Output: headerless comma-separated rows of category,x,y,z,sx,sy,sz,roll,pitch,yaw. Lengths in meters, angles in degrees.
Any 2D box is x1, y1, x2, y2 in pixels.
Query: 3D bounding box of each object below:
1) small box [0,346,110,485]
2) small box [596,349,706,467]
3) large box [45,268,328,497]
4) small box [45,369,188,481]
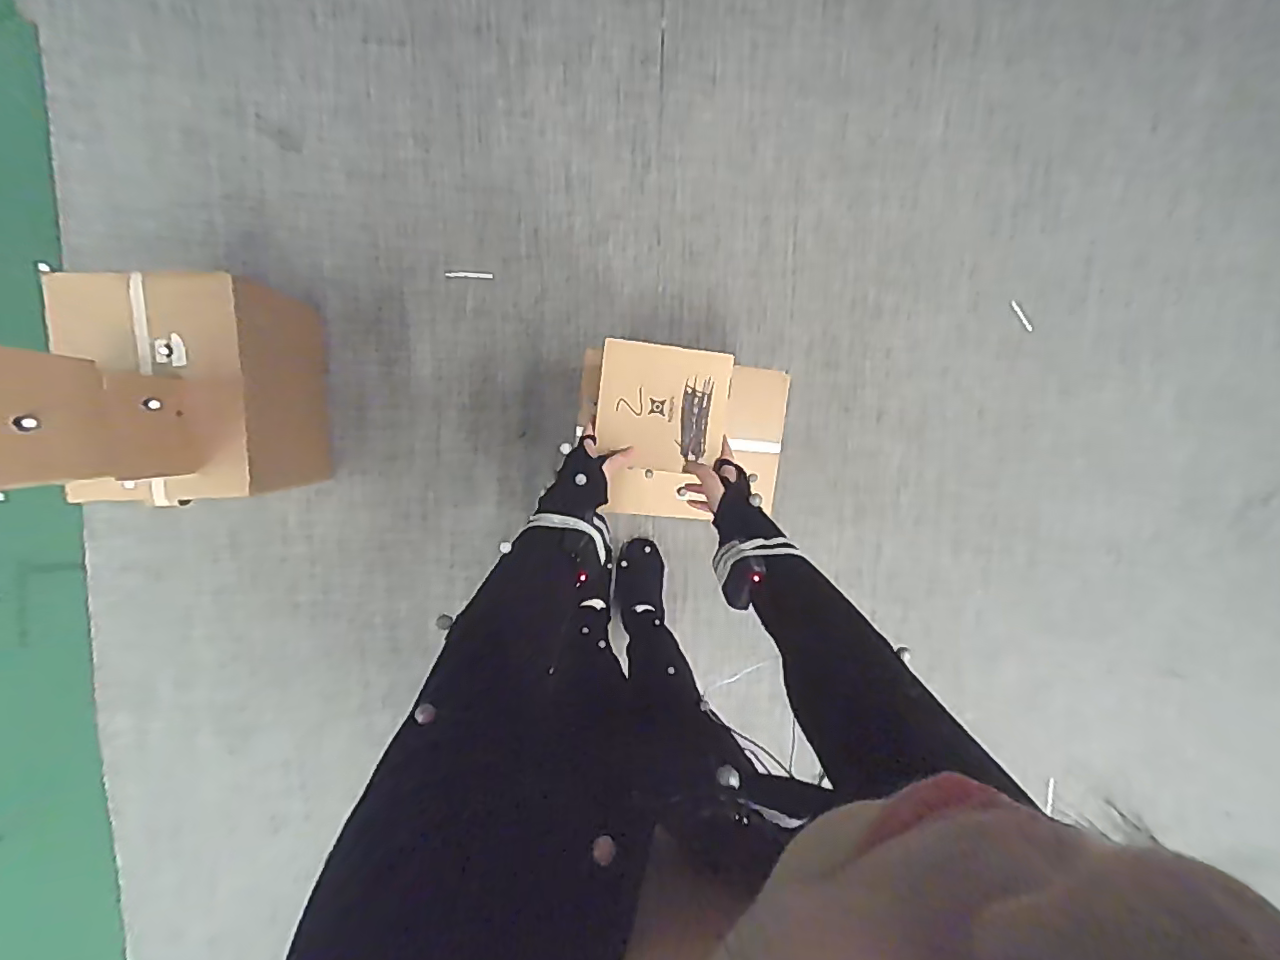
small box,-0.859,-0.080,0.709,0.168,0.176,0.179,-6,95,-5
small box,0.012,-0.121,0.955,0.168,0.176,0.179,5,93,-6
large box,-0.882,-0.183,1.108,0.320,0.320,0.408,-1,95,-6
small box,-0.875,-0.089,0.872,0.179,0.176,0.168,-2,95,-4
